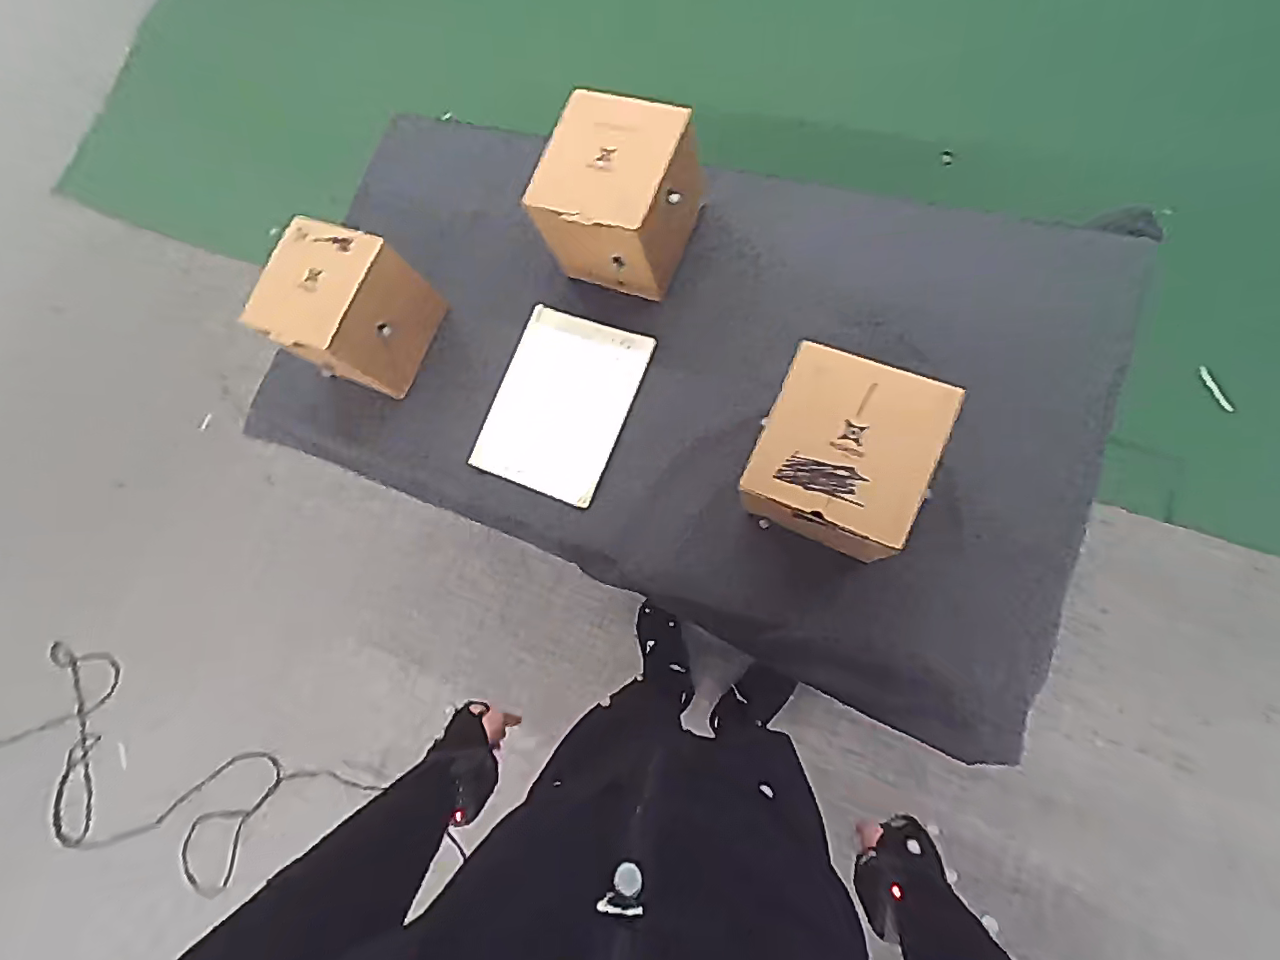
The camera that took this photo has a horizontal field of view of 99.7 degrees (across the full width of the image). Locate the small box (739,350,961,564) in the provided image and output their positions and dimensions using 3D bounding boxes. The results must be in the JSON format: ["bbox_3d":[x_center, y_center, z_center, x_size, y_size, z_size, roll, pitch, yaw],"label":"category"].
[{"bbox_3d":[0.228,-0.015,0.622,0.168,0.176,0.179,24,84,16],"label":"small box"}]

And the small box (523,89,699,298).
[{"bbox_3d":[-0.026,-0.380,0.741,0.168,0.176,0.179,21,83,15],"label":"small box"}]

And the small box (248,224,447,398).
[{"bbox_3d":[-0.427,-0.245,0.818,0.168,0.176,0.179,21,83,16],"label":"small box"}]
